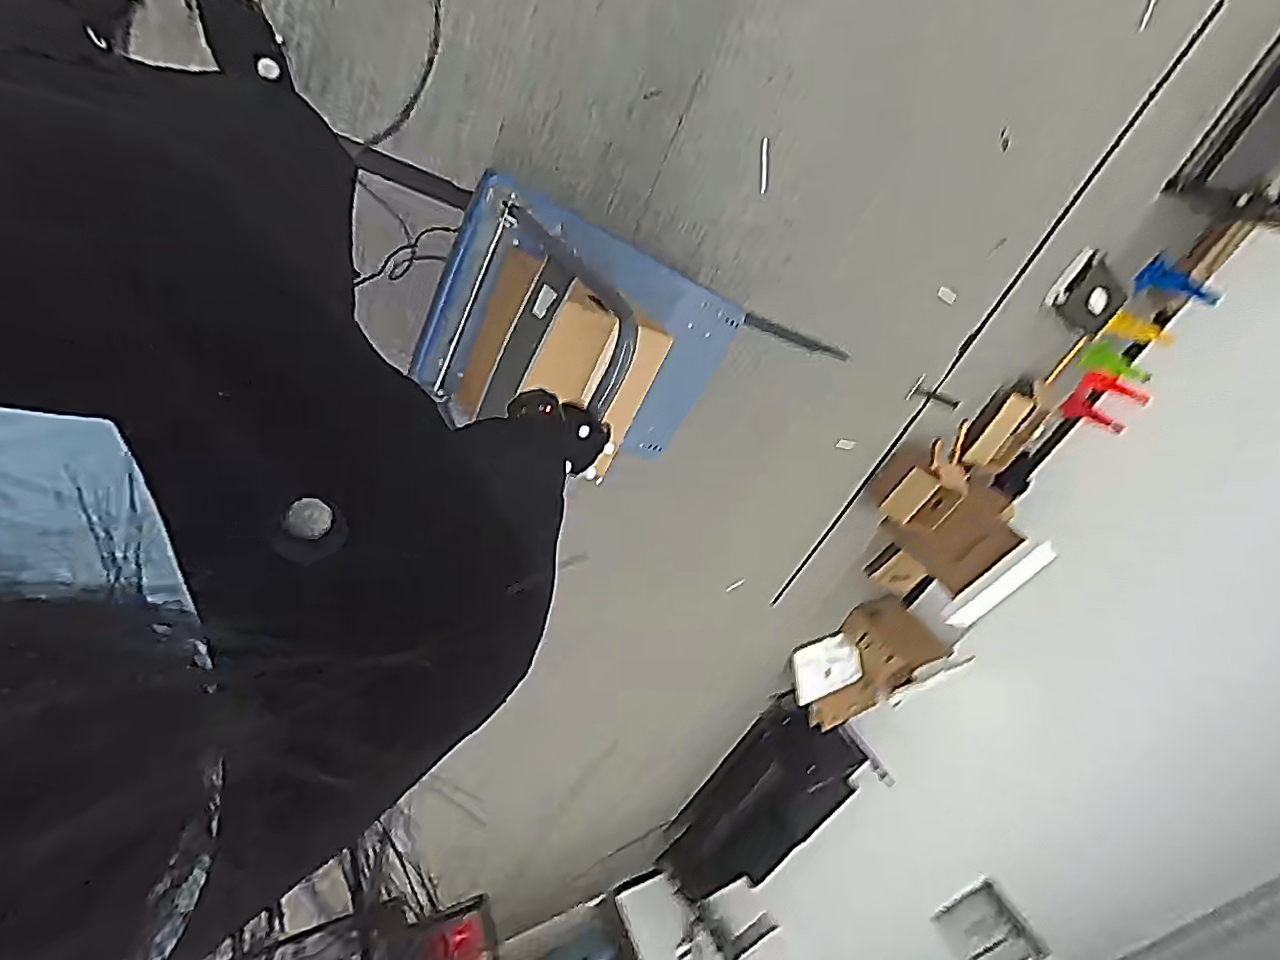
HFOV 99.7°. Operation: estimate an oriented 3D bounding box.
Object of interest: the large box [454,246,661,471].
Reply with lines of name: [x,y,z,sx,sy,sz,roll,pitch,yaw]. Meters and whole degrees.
large box: [-0.218,-0.282,1.315,0.320,0.320,0.408,7,123,-38]
